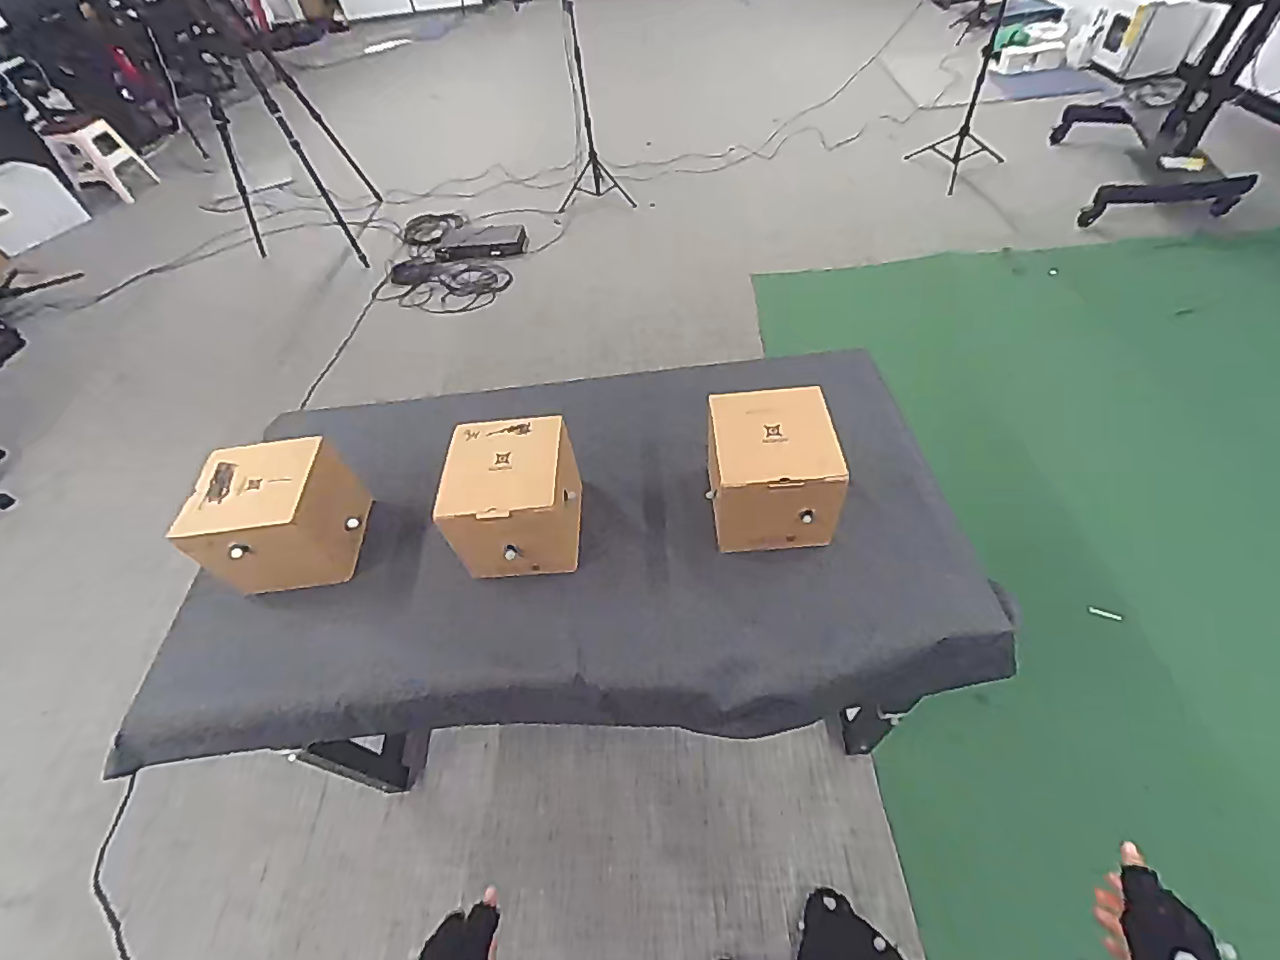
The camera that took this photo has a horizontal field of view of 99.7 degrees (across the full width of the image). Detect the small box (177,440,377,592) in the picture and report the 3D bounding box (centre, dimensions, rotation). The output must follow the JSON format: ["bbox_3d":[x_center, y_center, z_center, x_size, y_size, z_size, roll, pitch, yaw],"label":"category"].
[{"bbox_3d":[-0.551,0.062,0.851,0.179,0.176,0.168,-7,51,0],"label":"small box"}]

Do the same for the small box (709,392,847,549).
[{"bbox_3d":[0.194,-0.007,0.815,0.168,0.176,0.179,-4,49,3],"label":"small box"}]

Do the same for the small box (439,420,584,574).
[{"bbox_3d":[-0.182,0.034,0.829,0.168,0.176,0.179,-5,51,4],"label":"small box"}]
